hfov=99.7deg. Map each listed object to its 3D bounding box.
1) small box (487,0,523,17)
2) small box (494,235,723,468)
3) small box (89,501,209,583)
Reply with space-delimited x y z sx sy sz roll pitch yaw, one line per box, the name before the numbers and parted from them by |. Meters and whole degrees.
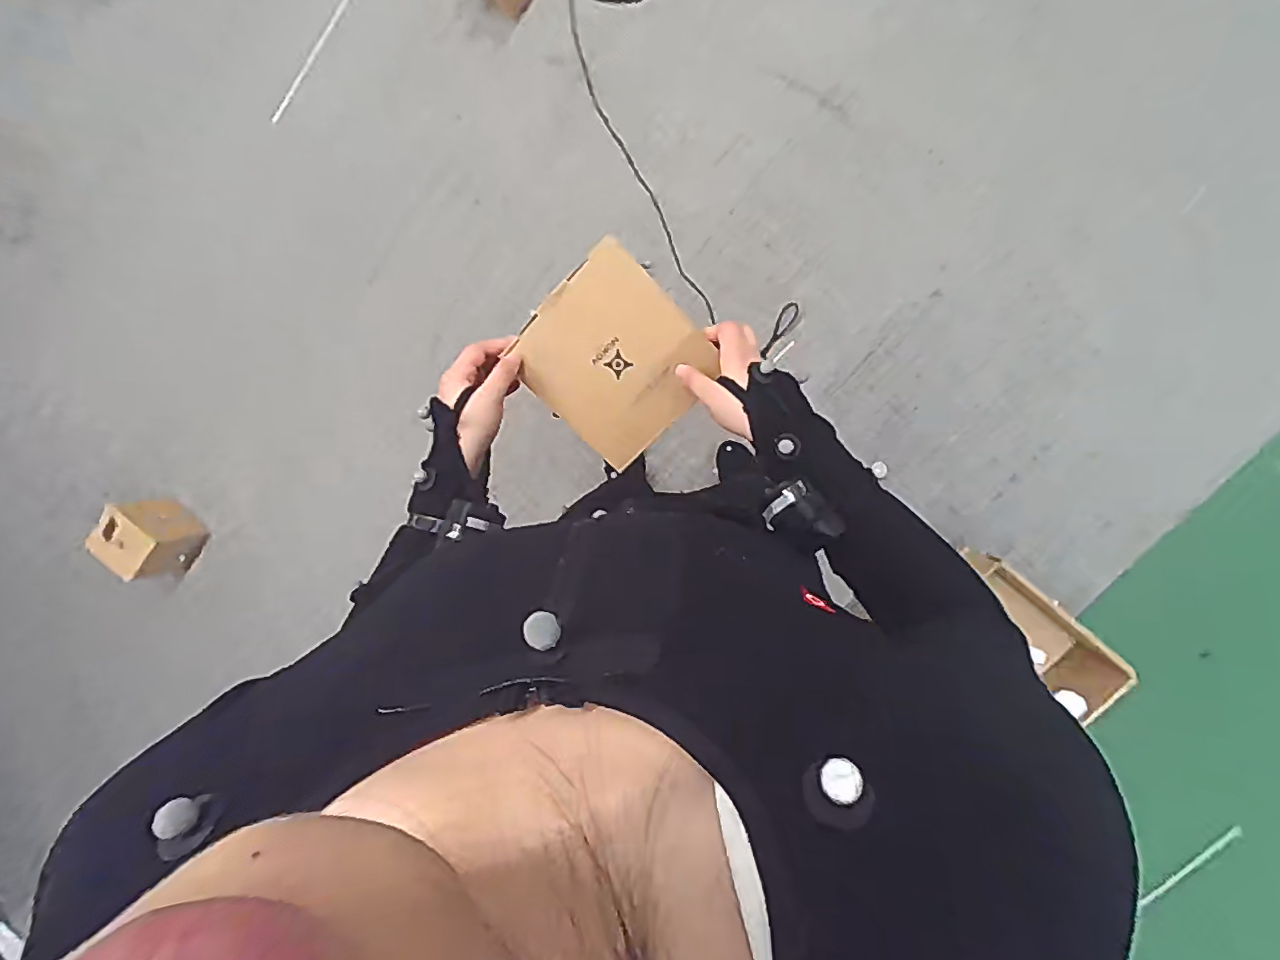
small box | -0.359 -1.297 1.314 0.168 0.176 0.179 38 100 2
small box | -0.032 -0.148 0.620 0.179 0.176 0.168 42 106 -15
small box | -1.474 0.179 1.631 0.179 0.176 0.168 41 99 1
